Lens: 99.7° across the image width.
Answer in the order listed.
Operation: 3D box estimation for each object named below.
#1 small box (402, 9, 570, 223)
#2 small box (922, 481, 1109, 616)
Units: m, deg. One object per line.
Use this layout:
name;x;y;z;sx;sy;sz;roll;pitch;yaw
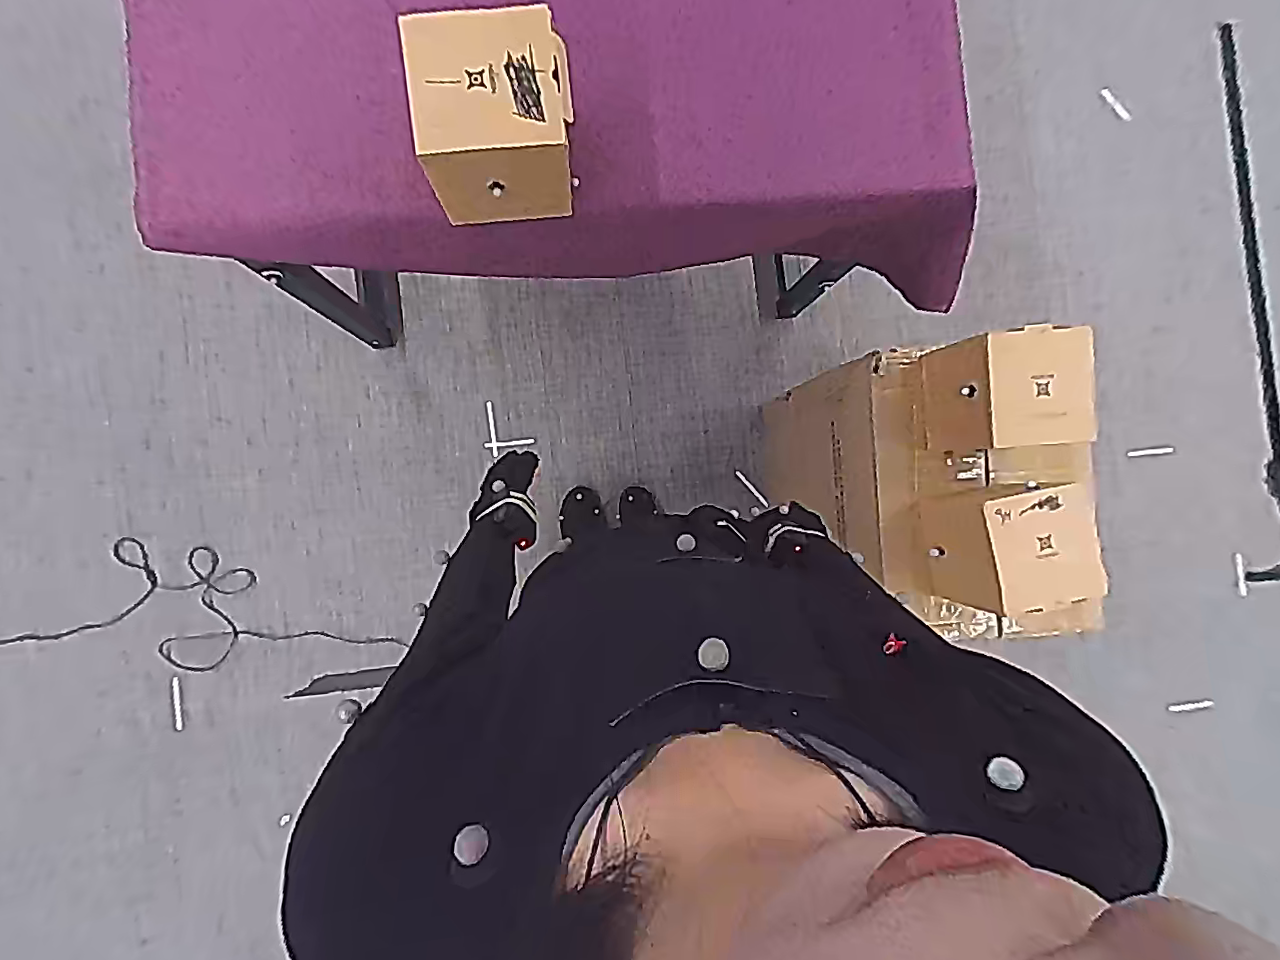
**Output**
small box;-0.186;-0.459;0.705;0.179;0.176;0.168;-7;89;-5
small box;0.590;0.100;0.871;0.168;0.176;0.179;-11;89;-4
